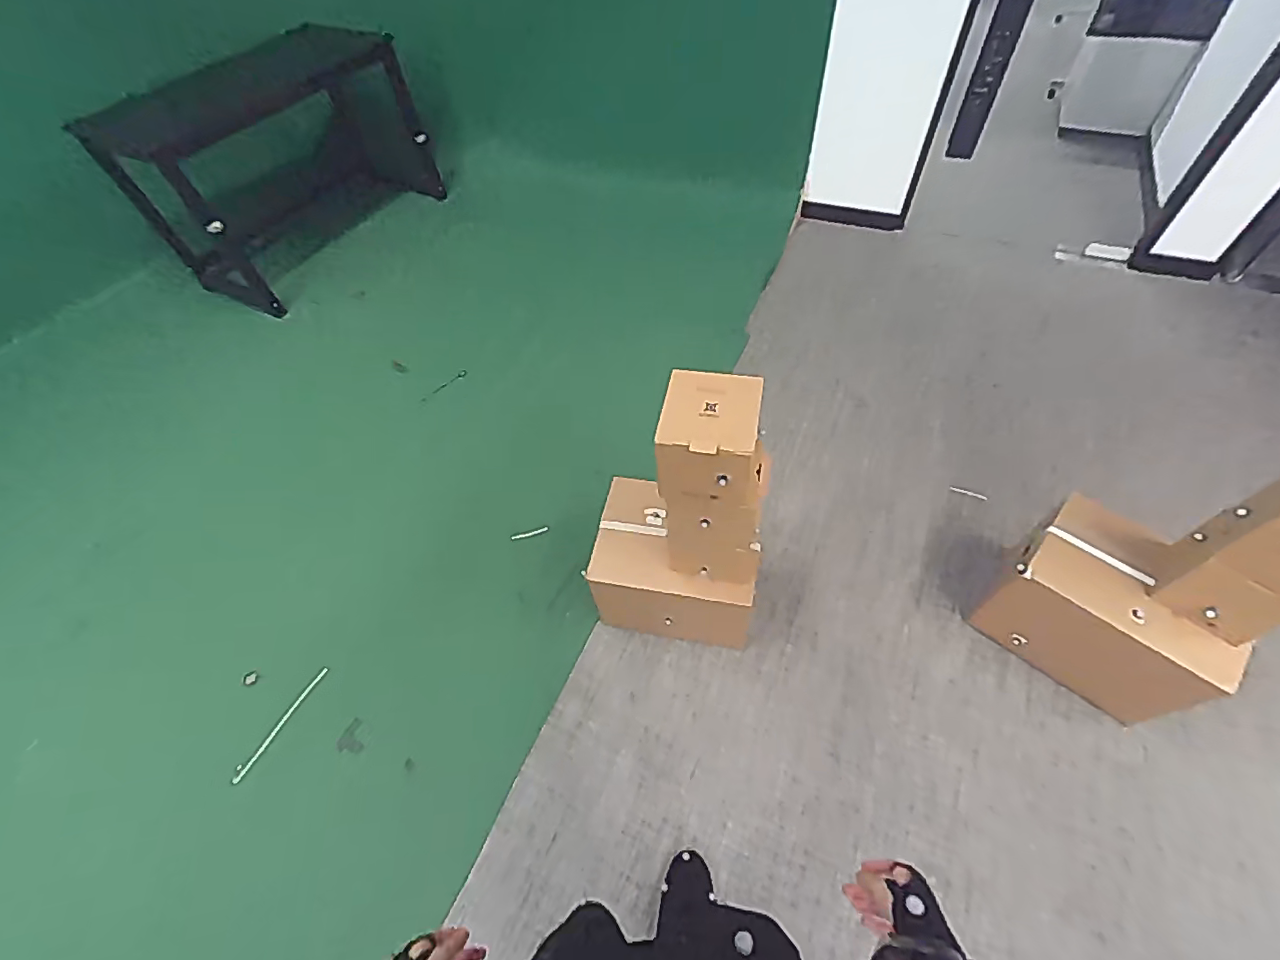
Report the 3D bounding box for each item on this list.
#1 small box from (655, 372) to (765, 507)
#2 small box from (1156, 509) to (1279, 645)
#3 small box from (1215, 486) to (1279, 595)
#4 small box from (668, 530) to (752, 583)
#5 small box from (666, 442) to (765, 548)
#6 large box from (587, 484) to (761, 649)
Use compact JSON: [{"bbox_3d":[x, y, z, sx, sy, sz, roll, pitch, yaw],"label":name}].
[{"bbox_3d":[0.131,-0.070,0.985,0.168,0.176,0.179,8,55,11],"label":"small box"},{"bbox_3d":[1.215,0.199,1.097,0.168,0.176,0.179,37,64,27],"label":"small box"},{"bbox_3d":[1.212,0.107,0.964,0.168,0.176,0.179,-39,59,-23],"label":"small box"},{"bbox_3d":[0.169,0.121,1.248,0.179,0.176,0.168,11,56,13],"label":"small box"},{"bbox_3d":[0.156,0.026,1.114,0.179,0.176,0.168,6,56,11],"label":"small box"},{"bbox_3d":[0.109,0.239,1.471,0.408,0.320,0.320,6,54,11],"label":"large box"}]
